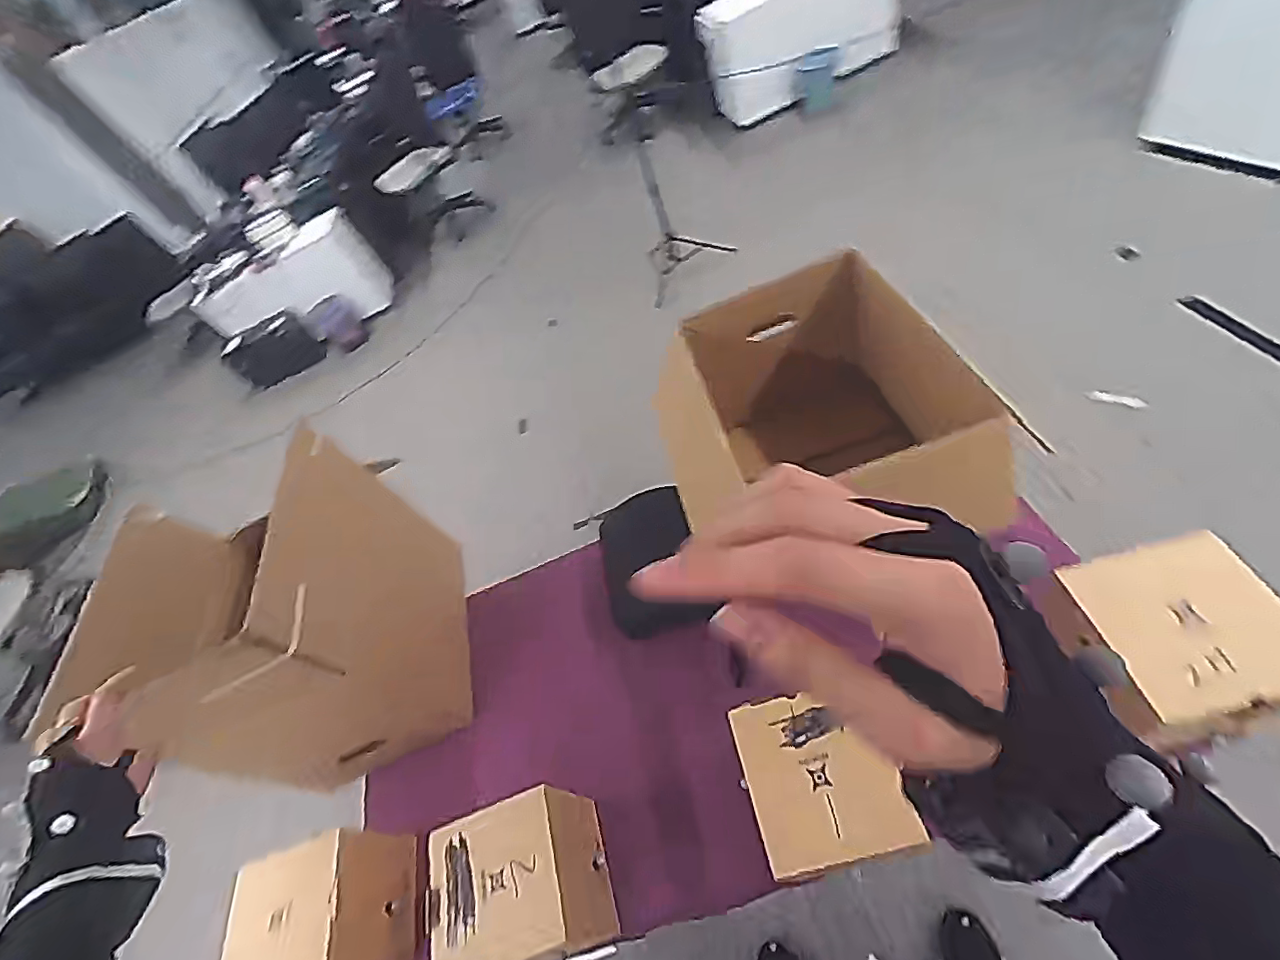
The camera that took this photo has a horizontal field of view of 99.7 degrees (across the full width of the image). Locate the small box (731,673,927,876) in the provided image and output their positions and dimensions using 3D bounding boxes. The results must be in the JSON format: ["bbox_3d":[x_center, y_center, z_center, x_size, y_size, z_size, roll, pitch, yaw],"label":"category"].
[{"bbox_3d":[0.228,0.369,0.670,0.168,0.176,0.179,-21,50,10],"label":"small box"}]

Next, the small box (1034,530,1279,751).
[{"bbox_3d":[0.601,0.191,0.628,0.168,0.176,0.179,-20,49,11],"label":"small box"}]

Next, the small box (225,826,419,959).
[{"bbox_3d":[-0.452,0.630,0.785,0.179,0.176,0.168,-24,49,5],"label":"small box"}]
